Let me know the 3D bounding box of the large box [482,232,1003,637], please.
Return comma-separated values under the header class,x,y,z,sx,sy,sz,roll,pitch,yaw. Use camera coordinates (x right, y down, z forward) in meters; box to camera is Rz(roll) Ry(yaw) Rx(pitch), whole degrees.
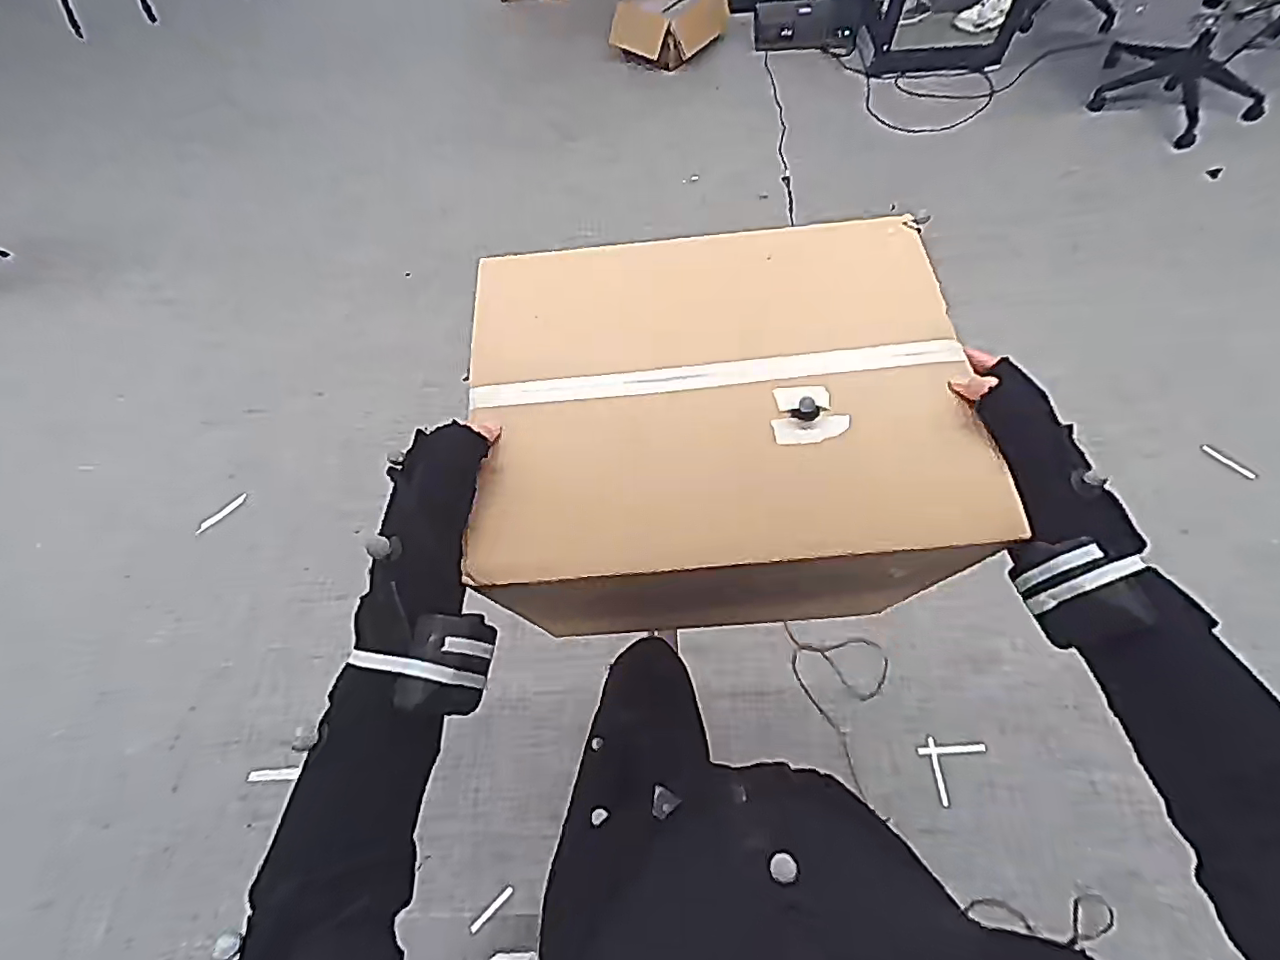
class,x,y,z,sx,sy,sz,roll,pitch,yaw
large box,0.071,-0.021,0.601,0.408,0.320,0.320,-6,67,2
